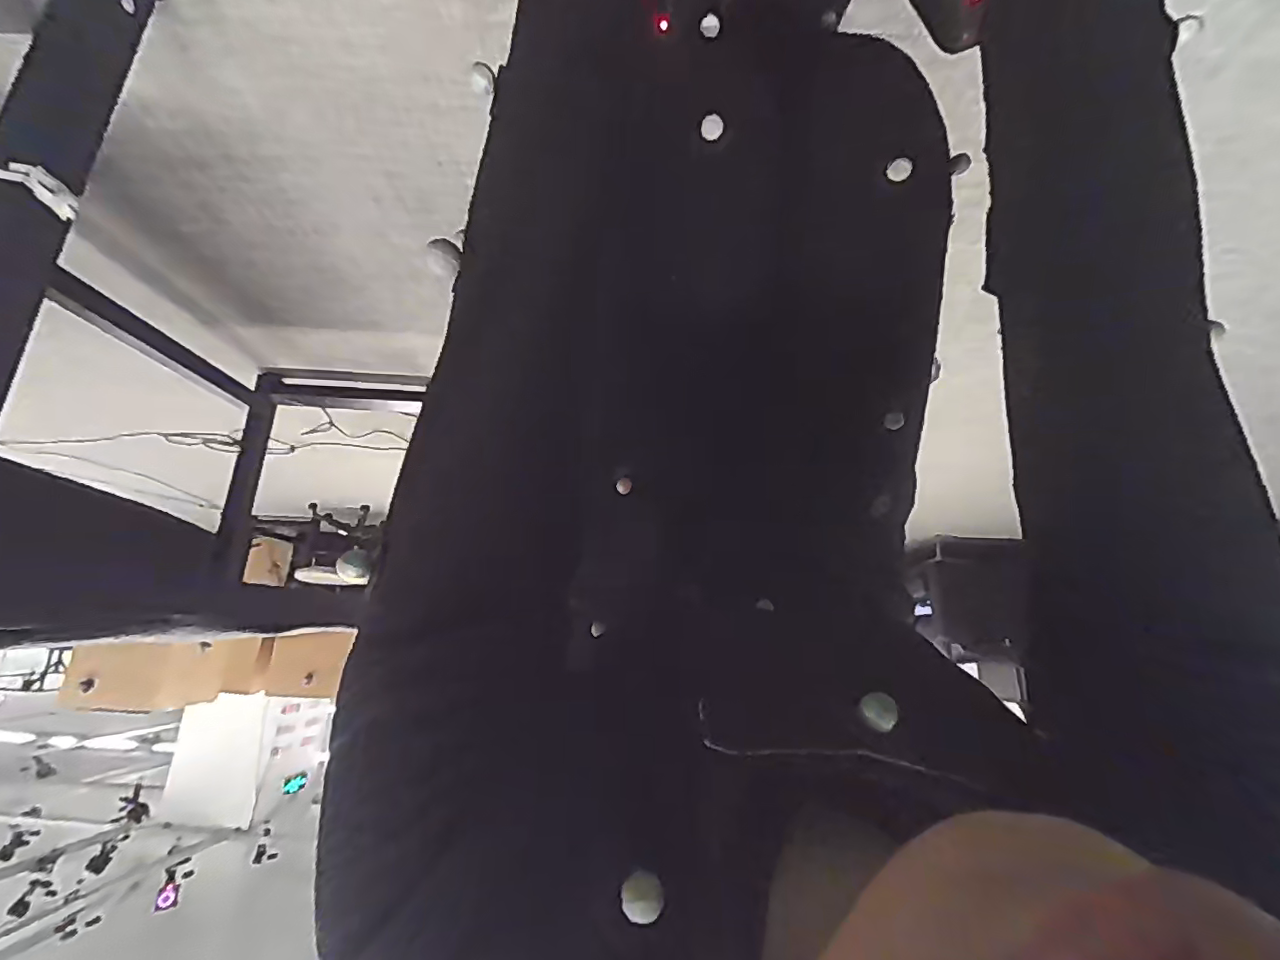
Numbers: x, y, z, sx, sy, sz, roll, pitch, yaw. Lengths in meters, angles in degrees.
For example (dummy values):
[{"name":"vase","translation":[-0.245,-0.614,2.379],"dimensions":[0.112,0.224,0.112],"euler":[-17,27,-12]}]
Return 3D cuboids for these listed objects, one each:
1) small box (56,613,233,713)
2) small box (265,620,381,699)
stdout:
[{"name":"small box","translation":[-0.949,0.350,1.056],"dimensions":[0.179,0.176,0.168],"euler":[3,165,-2]},{"name":"small box","translation":[-0.764,0.434,1.322],"dimensions":[0.179,0.176,0.168],"euler":[3,165,-2]}]
